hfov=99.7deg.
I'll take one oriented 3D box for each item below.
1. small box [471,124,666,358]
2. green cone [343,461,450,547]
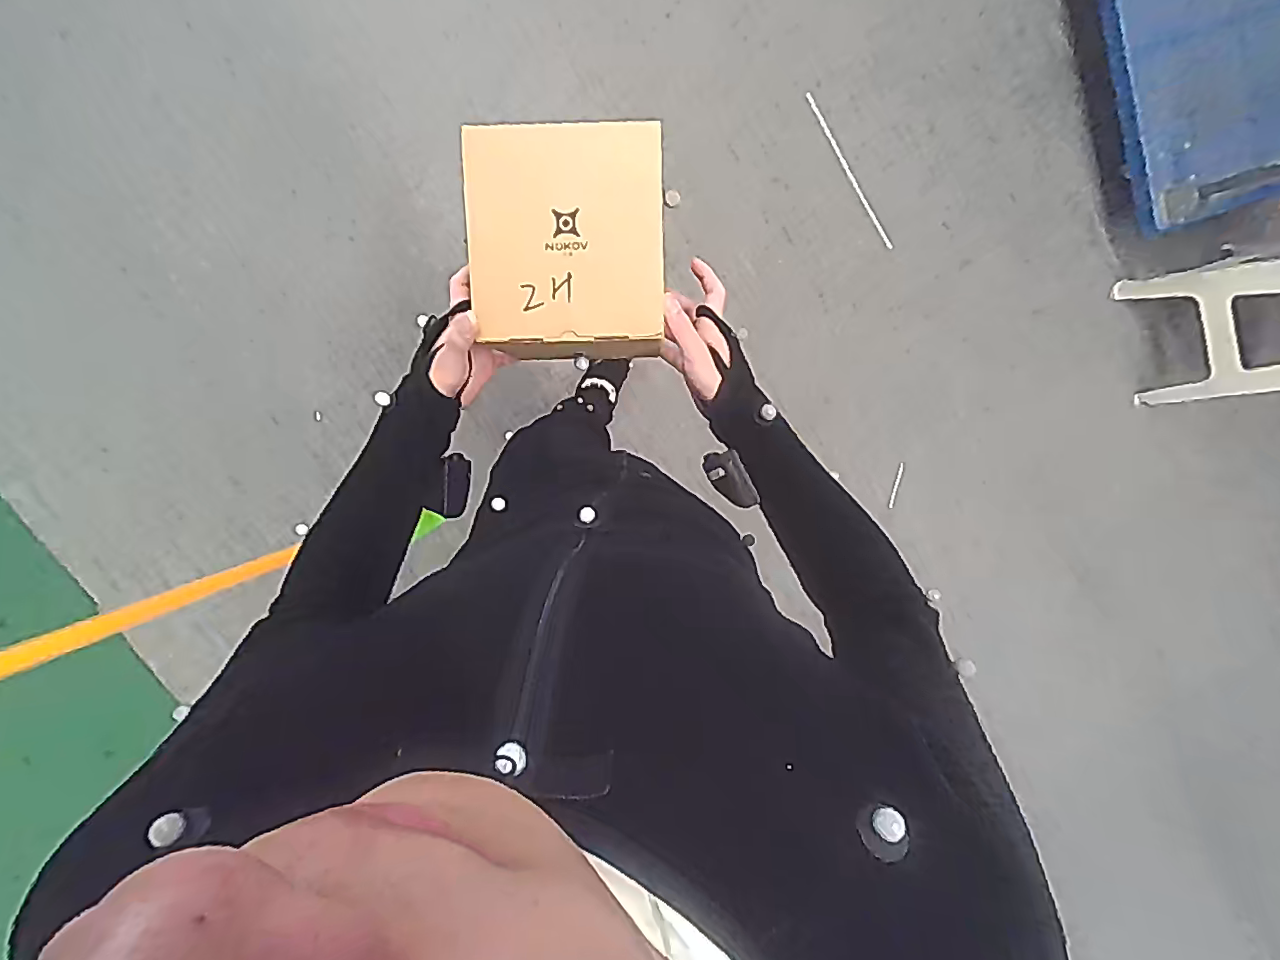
[{"bbox_3d":[-0.062,-0.220,0.541,0.168,0.176,0.179,0,98,0],"label":"small box"},{"bbox_3d":[-0.680,0.099,1.417,0.200,0.368,0.202,-33,100,3],"label":"green cone"}]
